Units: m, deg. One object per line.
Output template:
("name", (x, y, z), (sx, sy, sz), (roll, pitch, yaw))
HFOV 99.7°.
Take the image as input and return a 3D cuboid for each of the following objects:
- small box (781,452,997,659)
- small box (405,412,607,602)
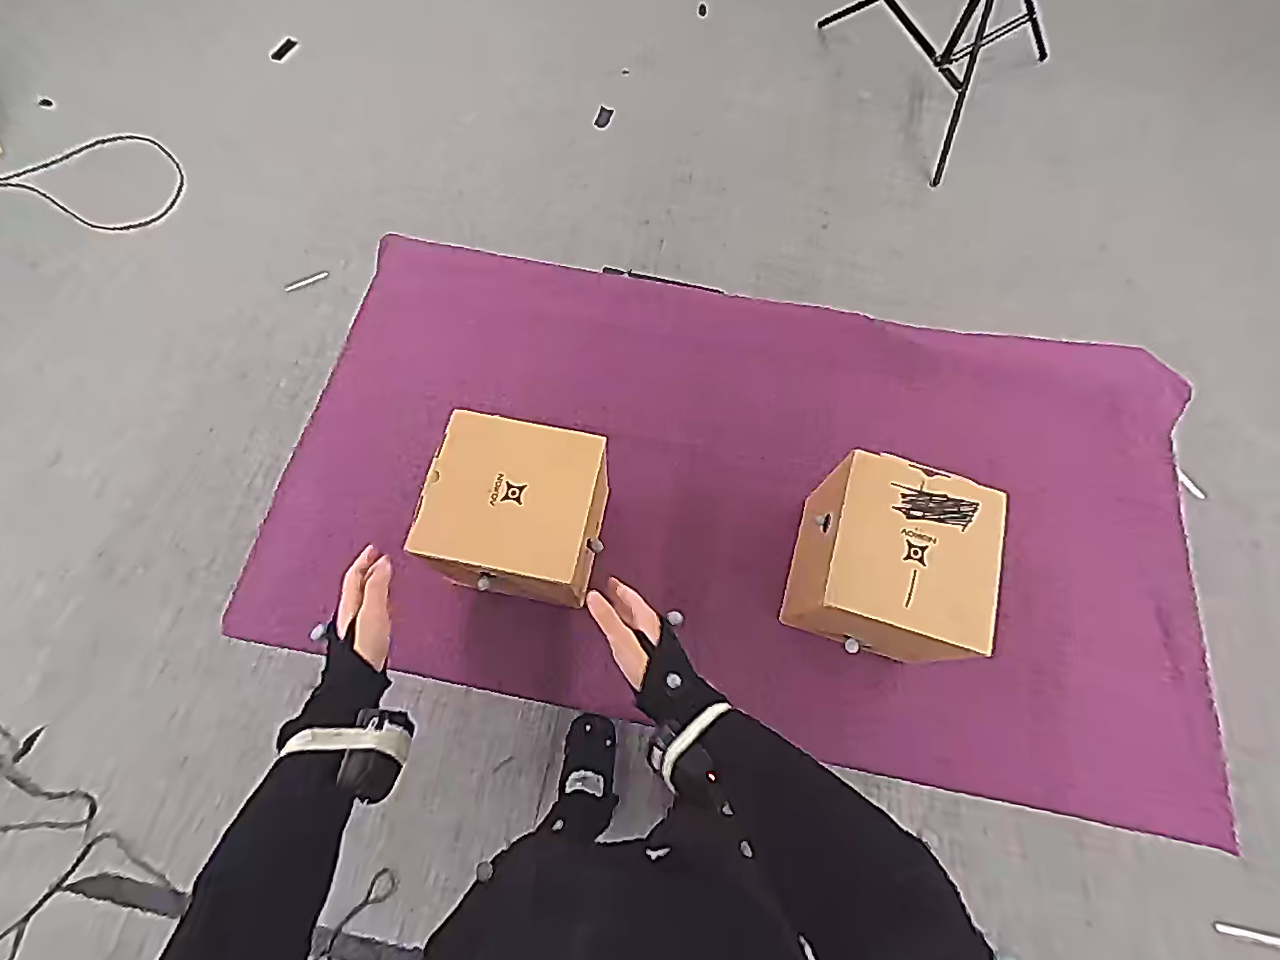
("small box", (0.277, 0.096, 0.630), (0.168, 0.176, 0.179), (17, 70, 5))
("small box", (-0.139, 0.042, 0.642), (0.179, 0.176, 0.168), (10, 69, 3))
